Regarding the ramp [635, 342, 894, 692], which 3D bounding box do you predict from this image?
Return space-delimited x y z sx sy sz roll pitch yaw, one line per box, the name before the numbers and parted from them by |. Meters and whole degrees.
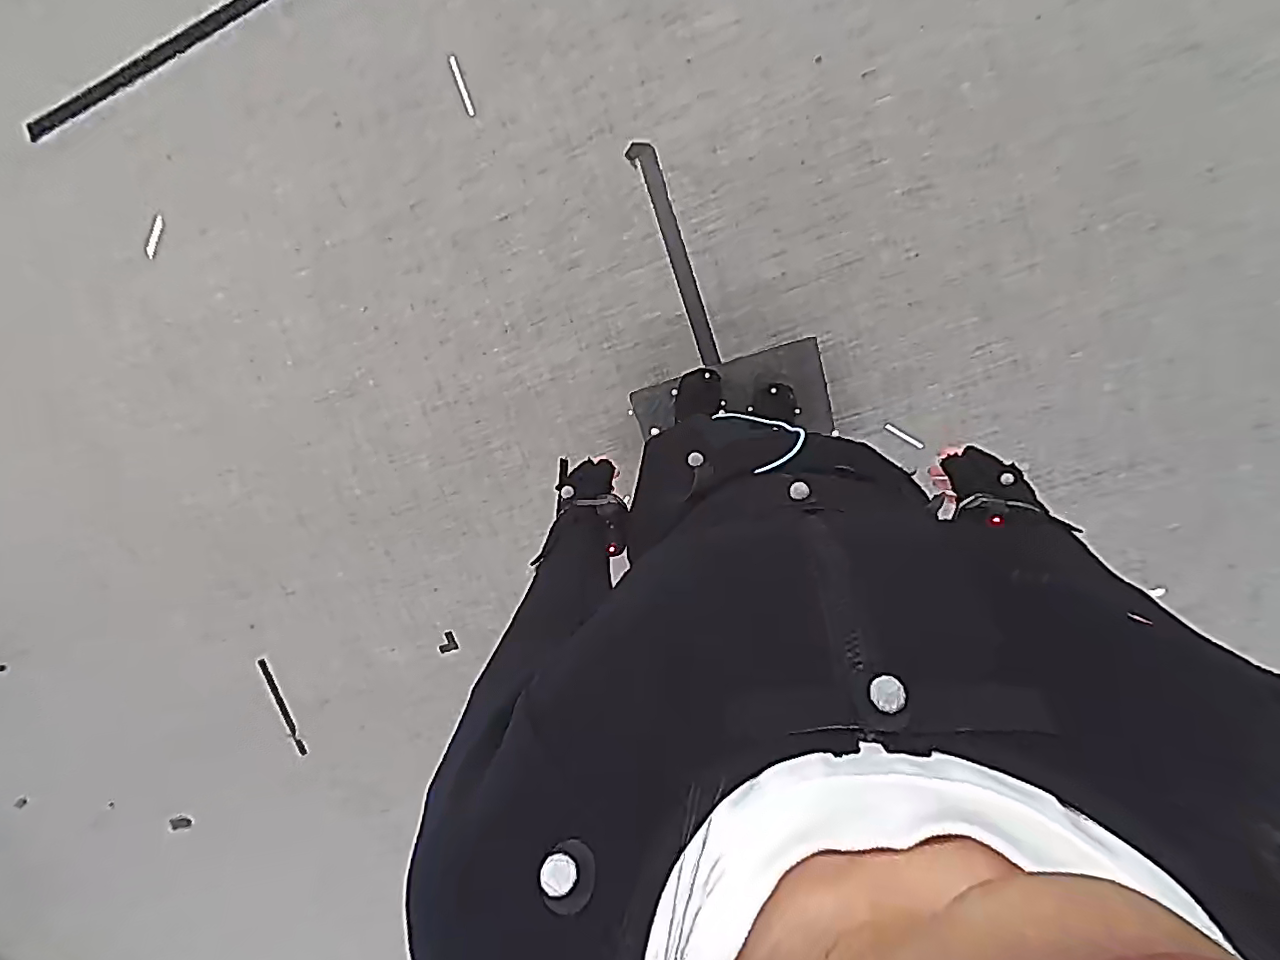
ramp | 0.381 0.164 1.534 0.509 0.206 0.991 -19 98 10
